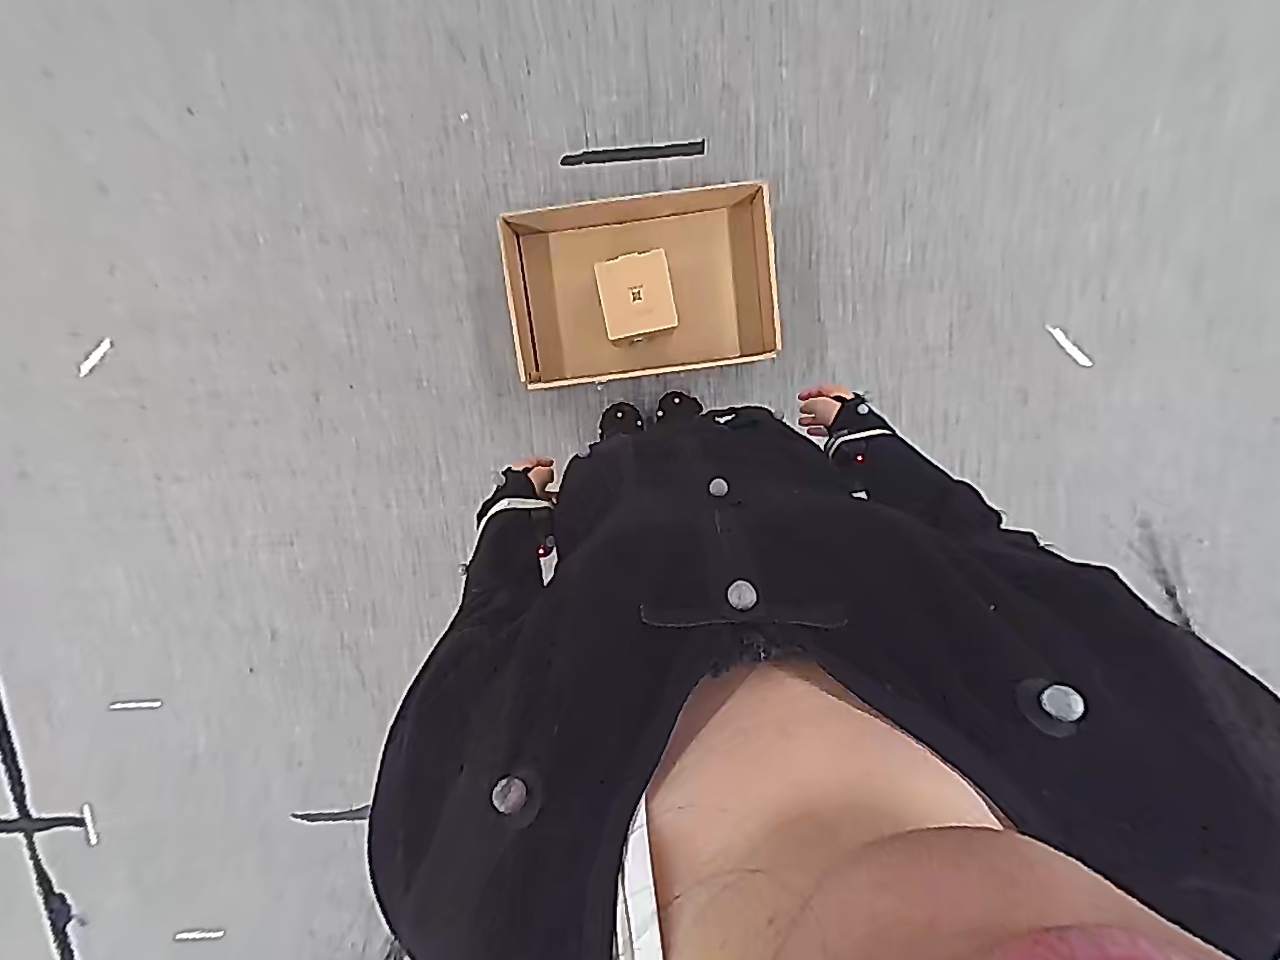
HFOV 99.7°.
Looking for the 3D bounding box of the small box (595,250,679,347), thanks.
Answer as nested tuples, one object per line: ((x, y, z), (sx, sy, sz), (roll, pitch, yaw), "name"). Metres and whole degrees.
((-0.007, -0.432, 1.309), (0.168, 0.176, 0.179), (-12, 99, 3), "small box")
